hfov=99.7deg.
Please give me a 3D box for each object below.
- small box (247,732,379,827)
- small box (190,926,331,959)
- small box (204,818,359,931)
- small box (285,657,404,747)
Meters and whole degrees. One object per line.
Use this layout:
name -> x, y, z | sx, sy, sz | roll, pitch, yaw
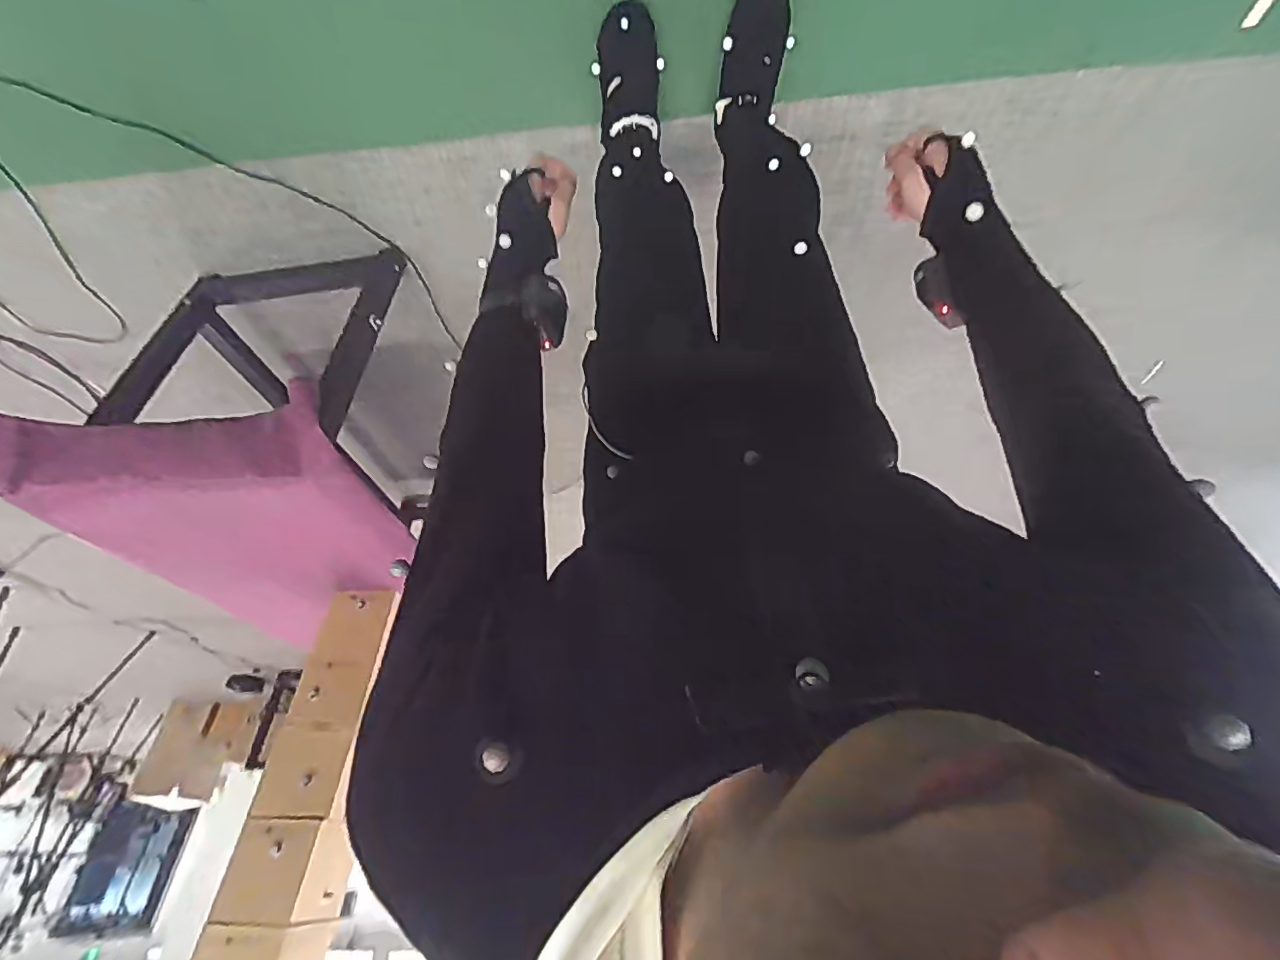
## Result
small box -> -0.698, 0.658, 1.187 | 0.179, 0.176, 0.168 | -1, 143, 2
small box -> -0.711, 0.918, 0.990 | 0.168, 0.176, 0.179 | -1, 144, 4
small box -> -0.704, 0.791, 1.090 | 0.168, 0.176, 0.179 | -1, 143, 4
small box -> -0.689, 0.527, 1.283 | 0.168, 0.176, 0.179 | 0, 144, 2
